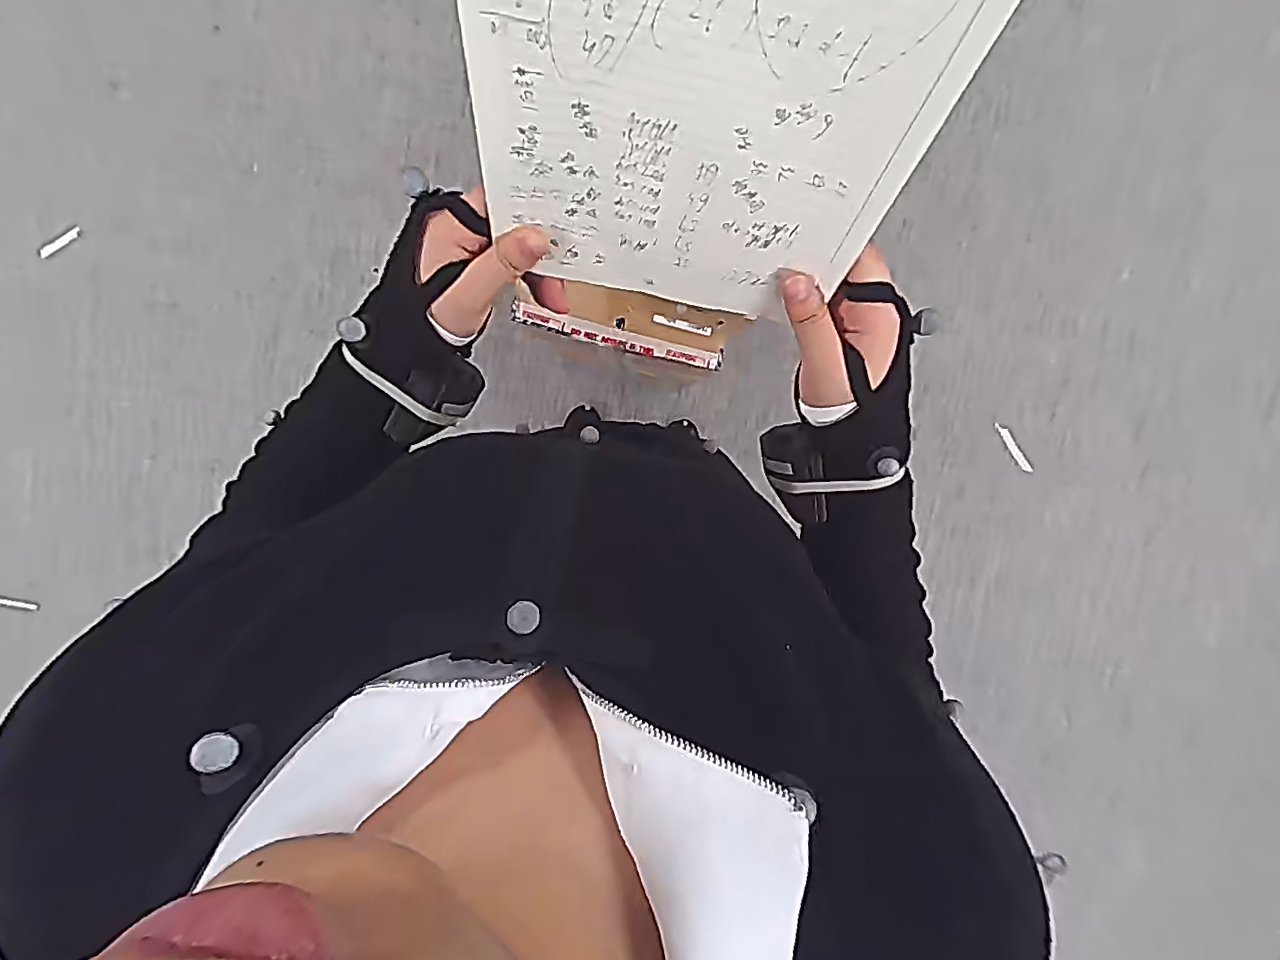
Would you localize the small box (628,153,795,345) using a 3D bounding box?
[{"bbox_3d":[0.082,-0.295,0.734,0.168,0.176,0.179,16,98,-5],"label":"small box"}]

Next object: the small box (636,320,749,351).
[{"bbox_3d":[0.096,-0.317,0.898,0.179,0.176,0.168,12,97,-3],"label":"small box"}]
